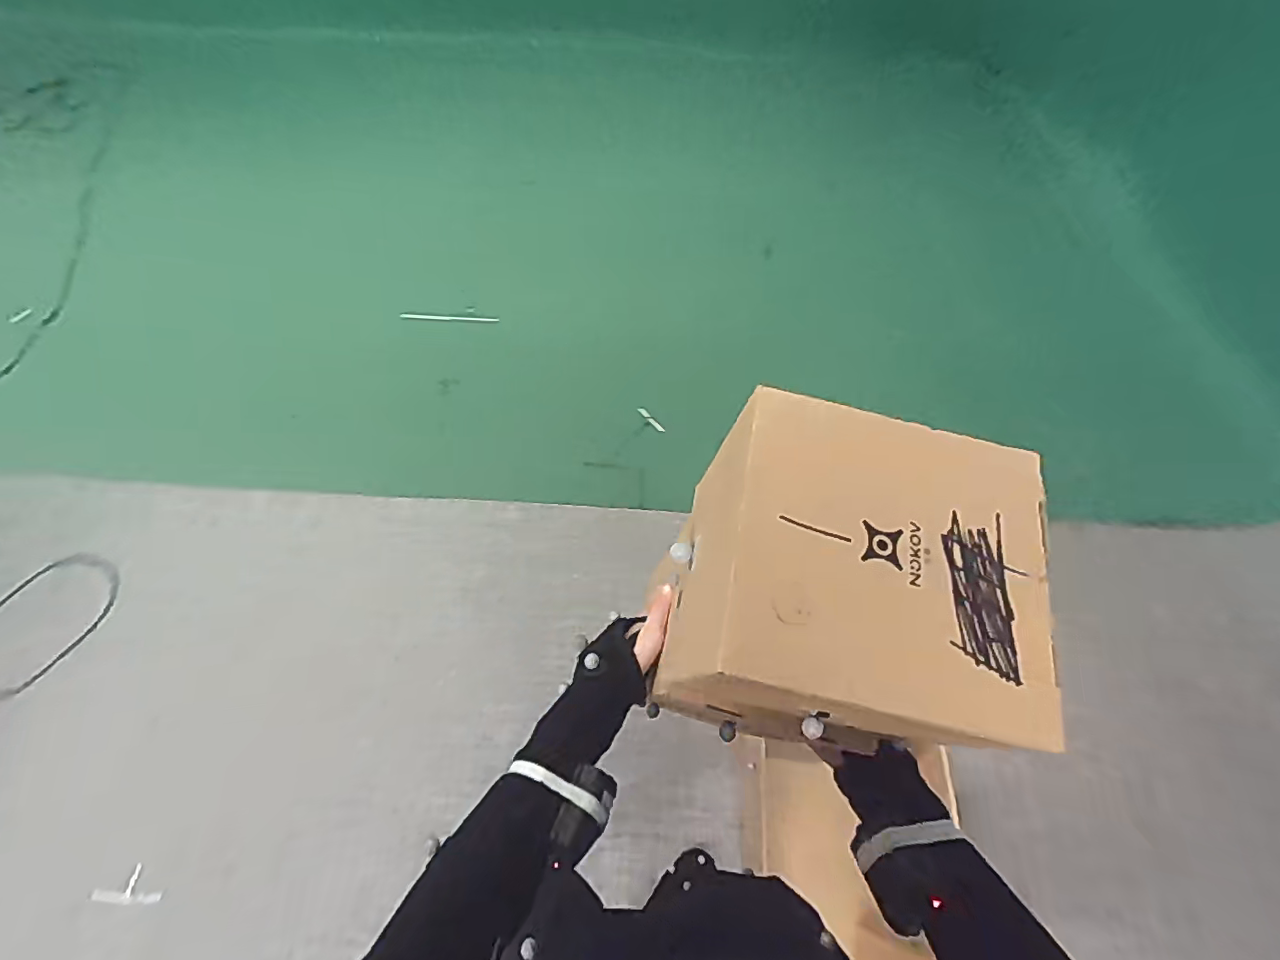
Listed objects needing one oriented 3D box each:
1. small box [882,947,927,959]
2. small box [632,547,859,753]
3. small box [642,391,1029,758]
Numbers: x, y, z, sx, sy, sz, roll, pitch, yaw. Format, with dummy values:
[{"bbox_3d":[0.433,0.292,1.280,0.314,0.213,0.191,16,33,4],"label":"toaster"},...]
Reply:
[{"bbox_3d":[0.482,0.870,0.839,0.168,0.176,0.179,14,60,9],"label":"small box"},{"bbox_3d":[0.094,0.137,0.508,0.168,0.176,0.179,15,66,0],"label":"small box"},{"bbox_3d":[0.109,0.070,0.360,0.179,0.176,0.168,13,66,-1],"label":"small box"}]
